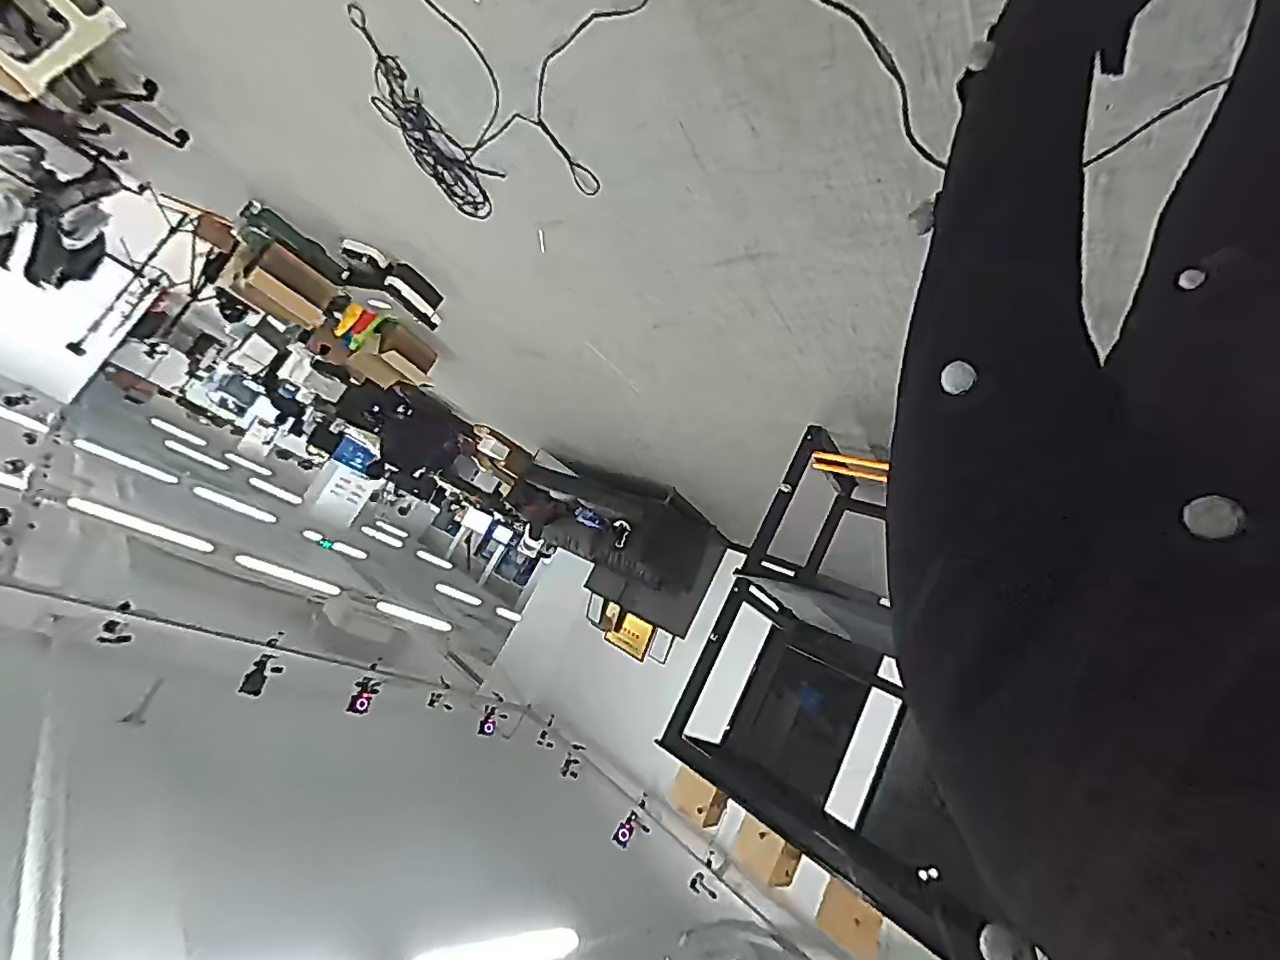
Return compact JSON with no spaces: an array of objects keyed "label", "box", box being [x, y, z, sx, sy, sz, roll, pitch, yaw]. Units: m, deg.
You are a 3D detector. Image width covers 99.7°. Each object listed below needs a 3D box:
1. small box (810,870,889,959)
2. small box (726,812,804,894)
[{"label":"small box","box":[0.644,1.334,1.651,0.168,0.176,0.179,20,165,36]},{"label":"small box","box":[0.430,1.266,1.840,0.168,0.176,0.179,14,160,48]}]
